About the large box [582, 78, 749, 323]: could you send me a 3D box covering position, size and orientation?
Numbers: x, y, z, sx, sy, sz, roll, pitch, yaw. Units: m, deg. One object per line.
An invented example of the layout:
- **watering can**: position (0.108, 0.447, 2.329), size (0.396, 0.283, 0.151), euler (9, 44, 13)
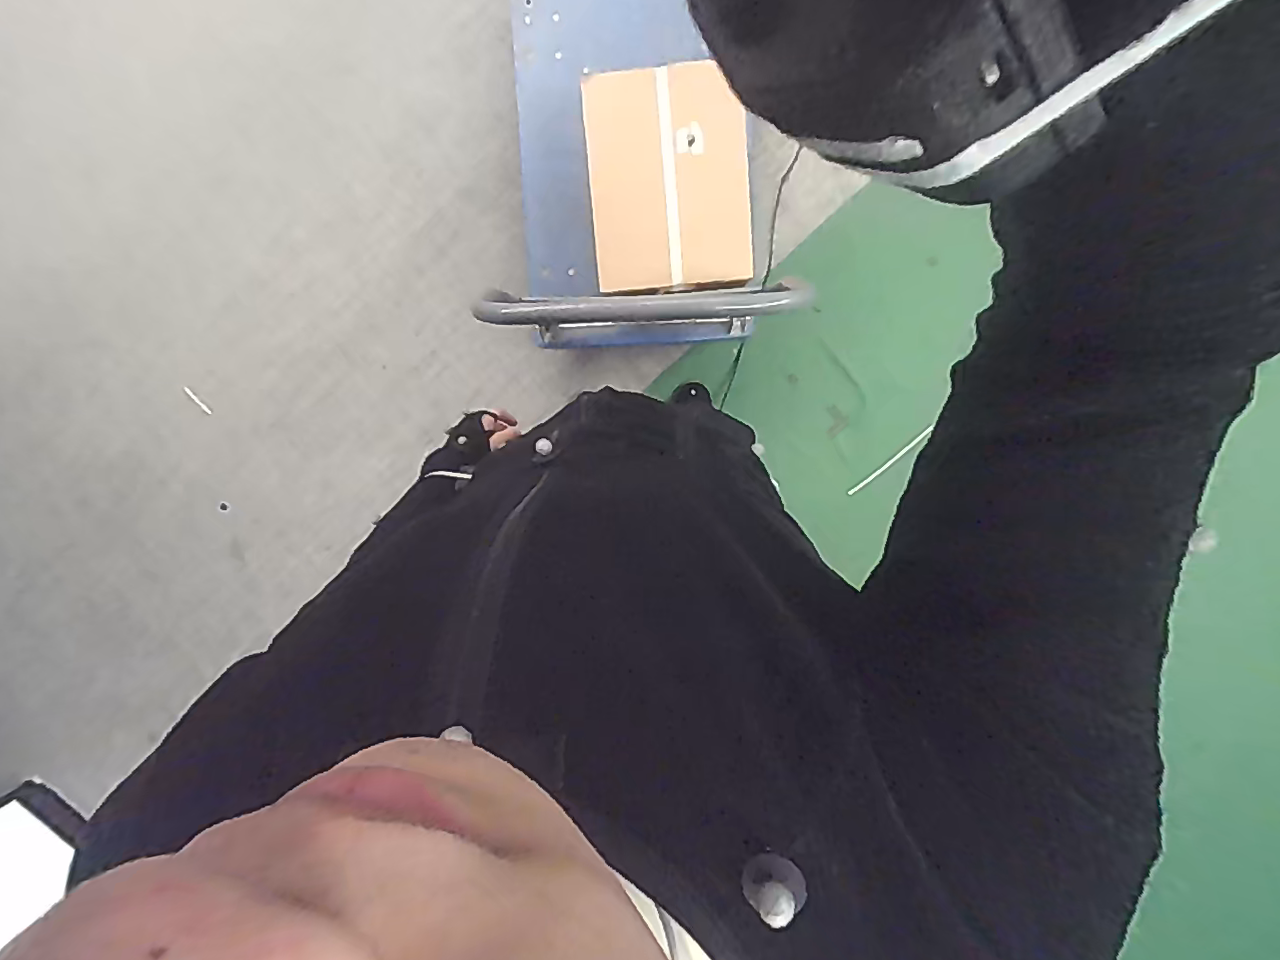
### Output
- **large box**: position (0.059, -0.599, 1.237), size (0.320, 0.320, 0.408), euler (-4, 98, 1)
